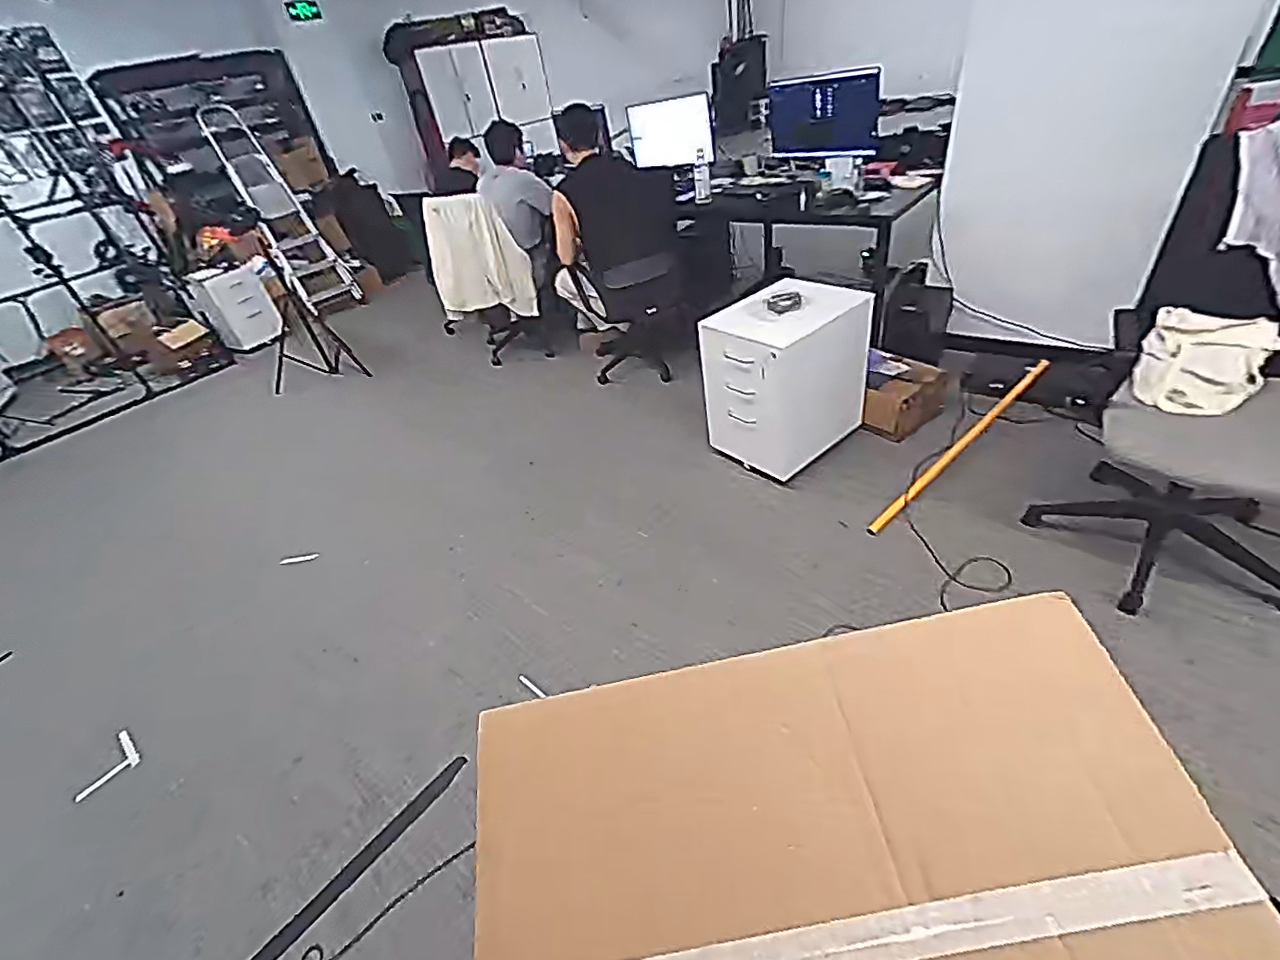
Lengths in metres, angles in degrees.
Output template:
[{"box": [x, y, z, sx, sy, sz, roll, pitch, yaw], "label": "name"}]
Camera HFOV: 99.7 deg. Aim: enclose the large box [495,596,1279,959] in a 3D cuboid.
[{"box": [0.138, 0.330, 0.412, 0.408, 0.320, 0.320, -13, 56, 3], "label": "large box"}]
